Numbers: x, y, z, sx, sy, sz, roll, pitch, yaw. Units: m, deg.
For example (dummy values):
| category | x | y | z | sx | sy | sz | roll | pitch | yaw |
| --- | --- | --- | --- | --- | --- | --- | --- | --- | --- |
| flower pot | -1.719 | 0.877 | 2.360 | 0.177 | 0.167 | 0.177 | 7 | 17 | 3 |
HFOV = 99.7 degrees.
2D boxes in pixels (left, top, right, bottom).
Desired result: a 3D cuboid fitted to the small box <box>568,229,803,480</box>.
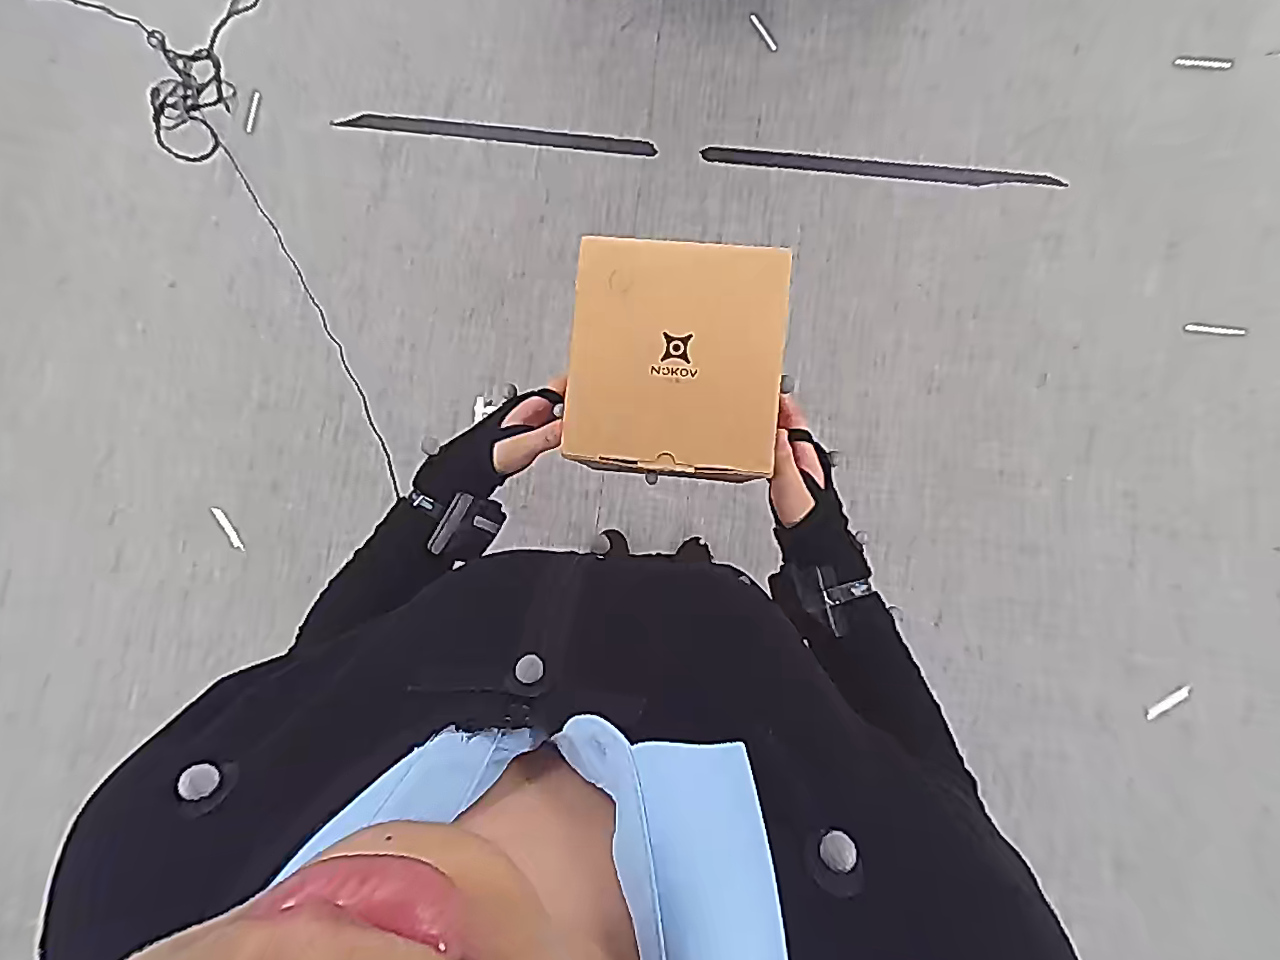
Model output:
| category | x | y | z | sx | sy | sz | roll | pitch | yaw |
| --- | --- | --- | --- | --- | --- | --- | --- | --- | --- |
| small box | 0.036 | -0.095 | 0.486 | 0.168 | 0.176 | 0.179 | 5 | 89 | 3 |
